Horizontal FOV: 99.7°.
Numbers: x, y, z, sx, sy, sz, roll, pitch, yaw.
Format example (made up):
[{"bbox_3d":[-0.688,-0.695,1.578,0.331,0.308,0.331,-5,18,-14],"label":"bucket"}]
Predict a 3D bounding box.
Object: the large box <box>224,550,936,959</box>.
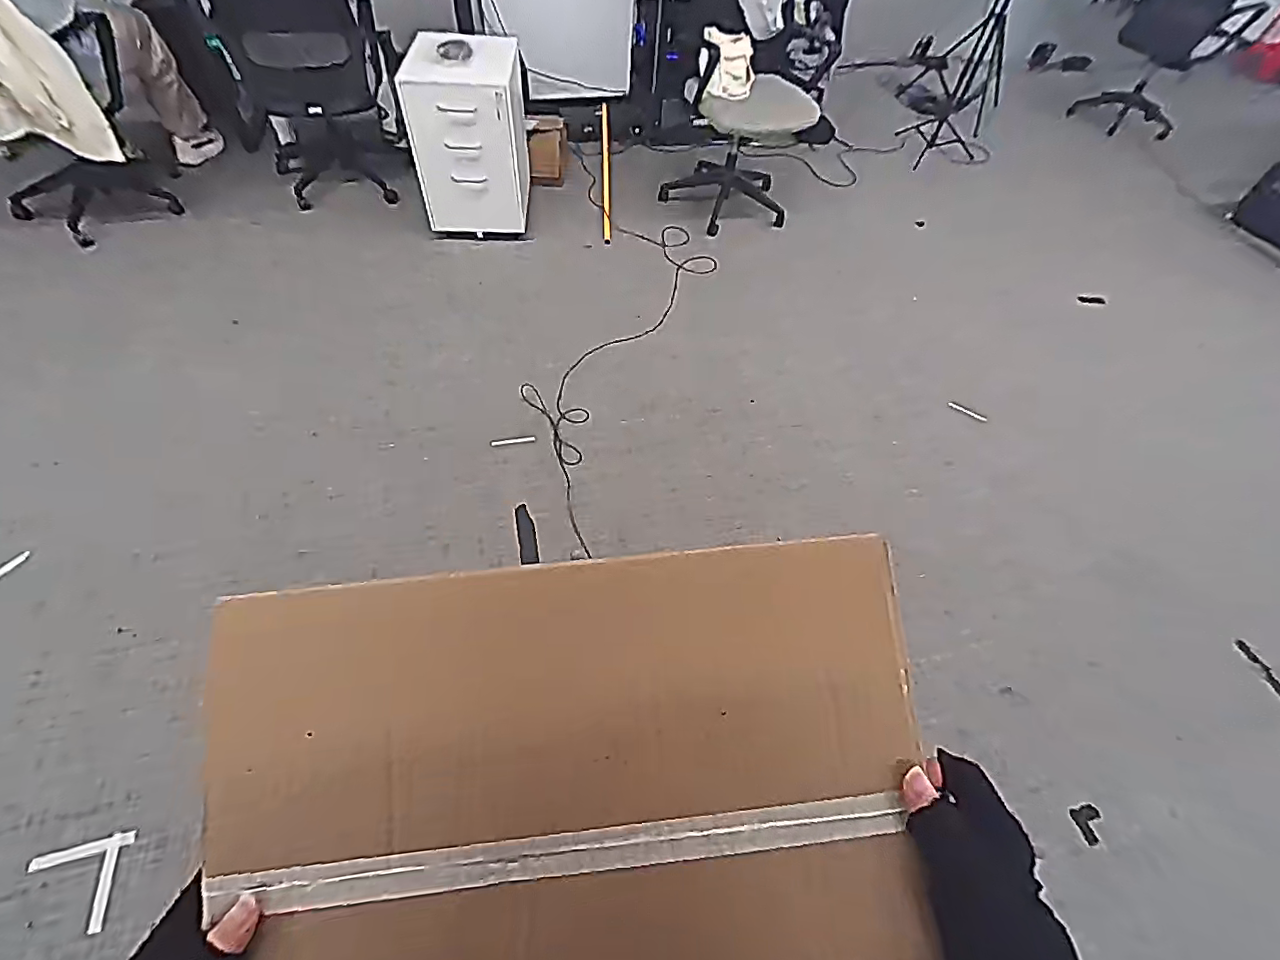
[{"bbox_3d":[-0.038,0.240,0.461,0.408,0.320,0.320,-5,80,-3],"label":"large box"}]
